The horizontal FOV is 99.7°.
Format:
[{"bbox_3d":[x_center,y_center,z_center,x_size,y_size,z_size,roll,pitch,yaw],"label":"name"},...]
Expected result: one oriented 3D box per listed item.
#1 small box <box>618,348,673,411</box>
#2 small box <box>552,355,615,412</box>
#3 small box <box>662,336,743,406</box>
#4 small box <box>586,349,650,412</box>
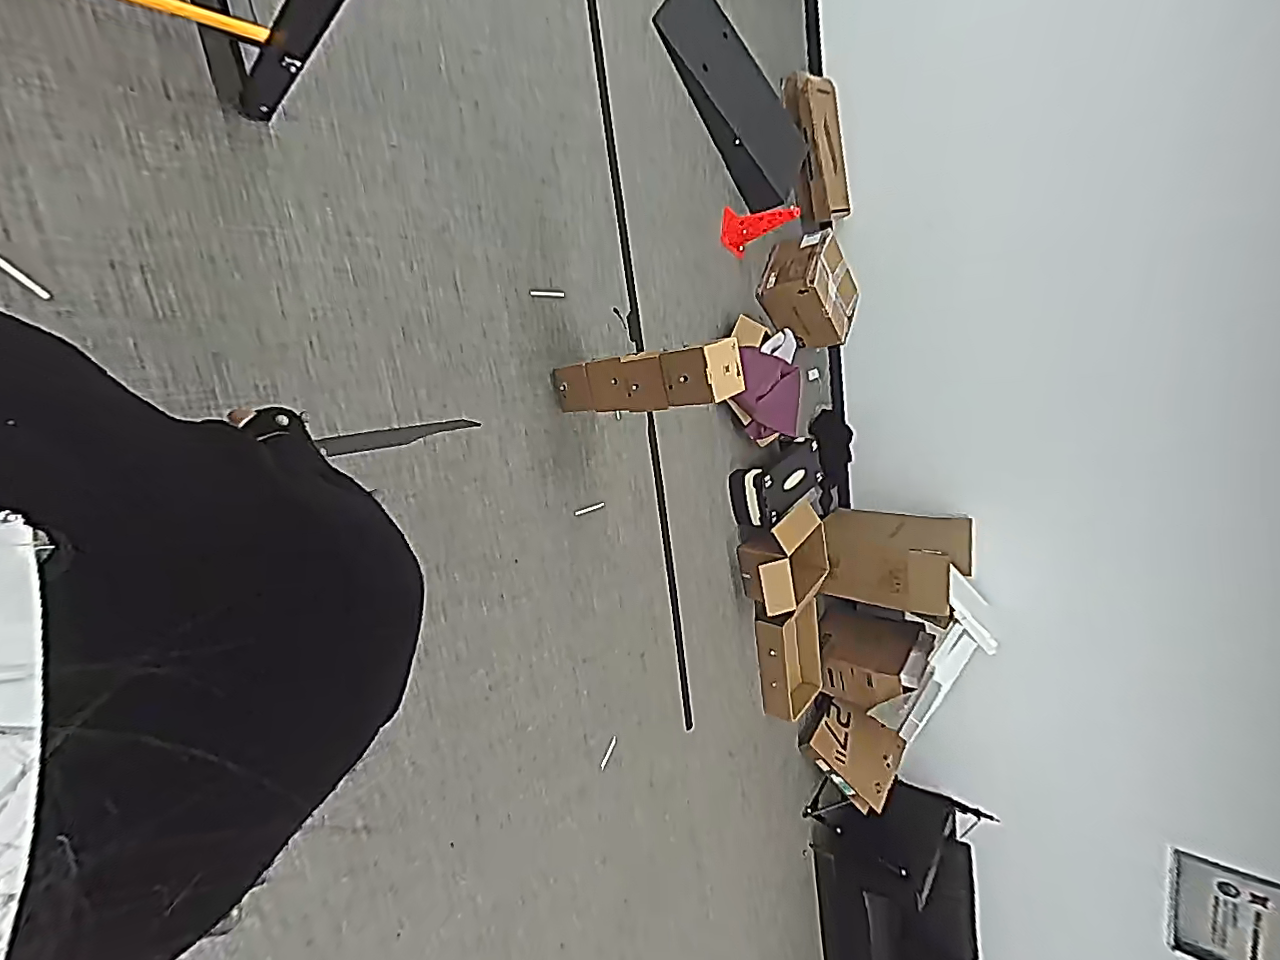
[{"bbox_3d":[0.056,-0.324,1.732,0.179,0.176,0.168,-30,113,-43],"label":"small box"},{"bbox_3d":[-0.188,-0.348,1.952,0.179,0.176,0.168,-27,111,-42],"label":"small box"},{"bbox_3d":[0.181,-0.324,1.626,0.179,0.176,0.168,-28,112,-43],"label":"small box"},{"bbox_3d":[-0.064,-0.338,1.844,0.168,0.176,0.179,-25,110,-44],"label":"small box"}]
